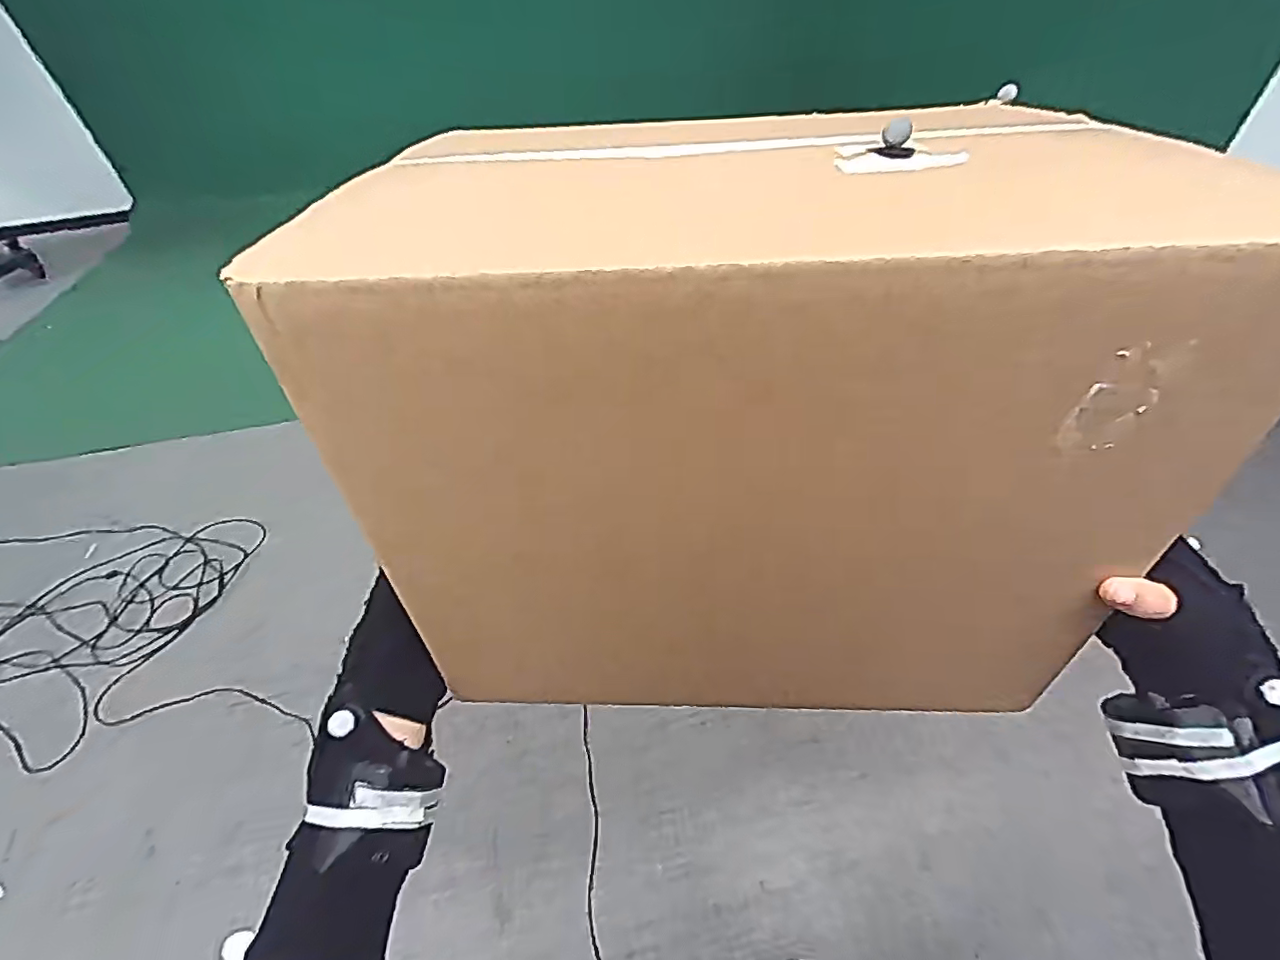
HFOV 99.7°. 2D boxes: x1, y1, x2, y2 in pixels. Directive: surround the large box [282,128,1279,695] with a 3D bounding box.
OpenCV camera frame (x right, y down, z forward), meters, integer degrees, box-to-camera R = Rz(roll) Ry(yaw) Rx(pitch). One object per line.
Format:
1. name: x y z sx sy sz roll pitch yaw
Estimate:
1. large box: 0.066 -0.056 0.407 0.408 0.320 0.320 0 41 3
